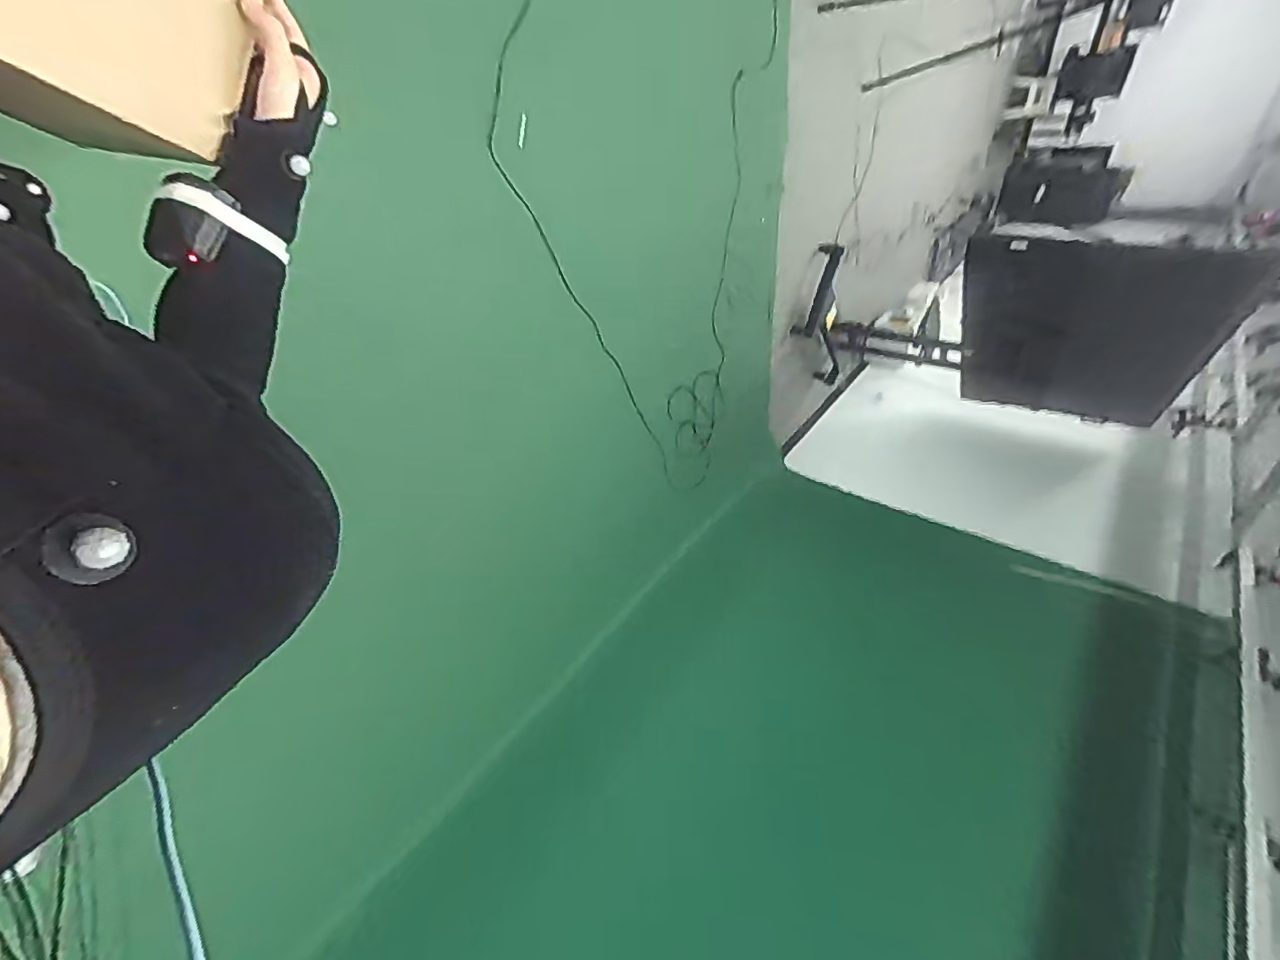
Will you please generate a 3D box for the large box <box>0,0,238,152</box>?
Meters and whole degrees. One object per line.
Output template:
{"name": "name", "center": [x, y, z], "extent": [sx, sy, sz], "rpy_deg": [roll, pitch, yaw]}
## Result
{"name": "large box", "center": [-0.528, -0.466, 0.321], "extent": [0.408, 0.320, 0.320], "rpy_deg": [3, 107, -62]}
